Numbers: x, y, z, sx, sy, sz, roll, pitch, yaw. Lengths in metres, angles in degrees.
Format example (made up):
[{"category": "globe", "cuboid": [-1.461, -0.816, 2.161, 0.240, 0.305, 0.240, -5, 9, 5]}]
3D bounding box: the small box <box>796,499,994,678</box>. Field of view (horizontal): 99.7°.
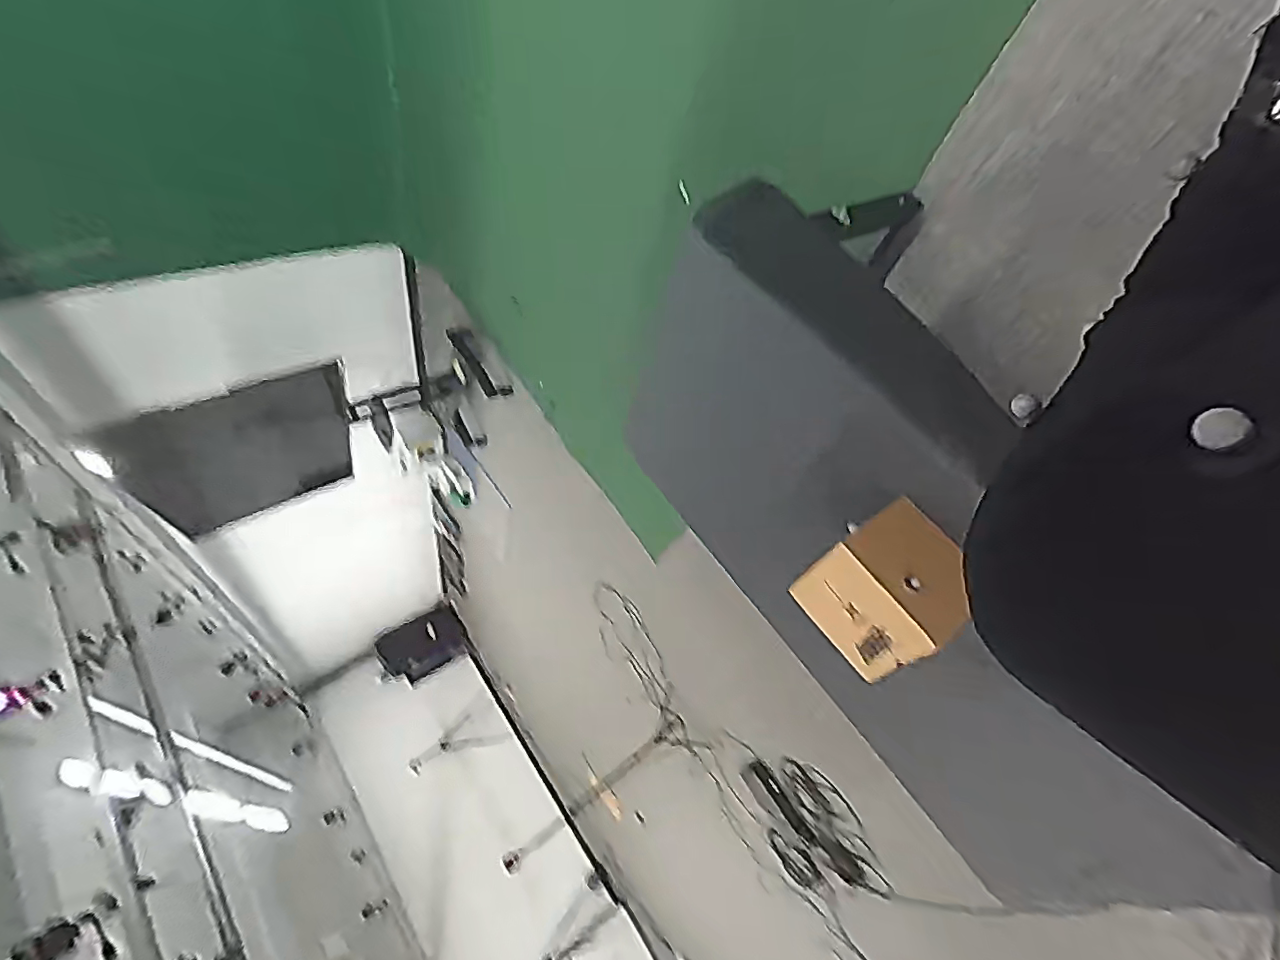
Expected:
[{"category": "small box", "cuboid": [0.382, 0.160, 0.818, 0.179, 0.176, 0.168, 51, 148, 21]}]
